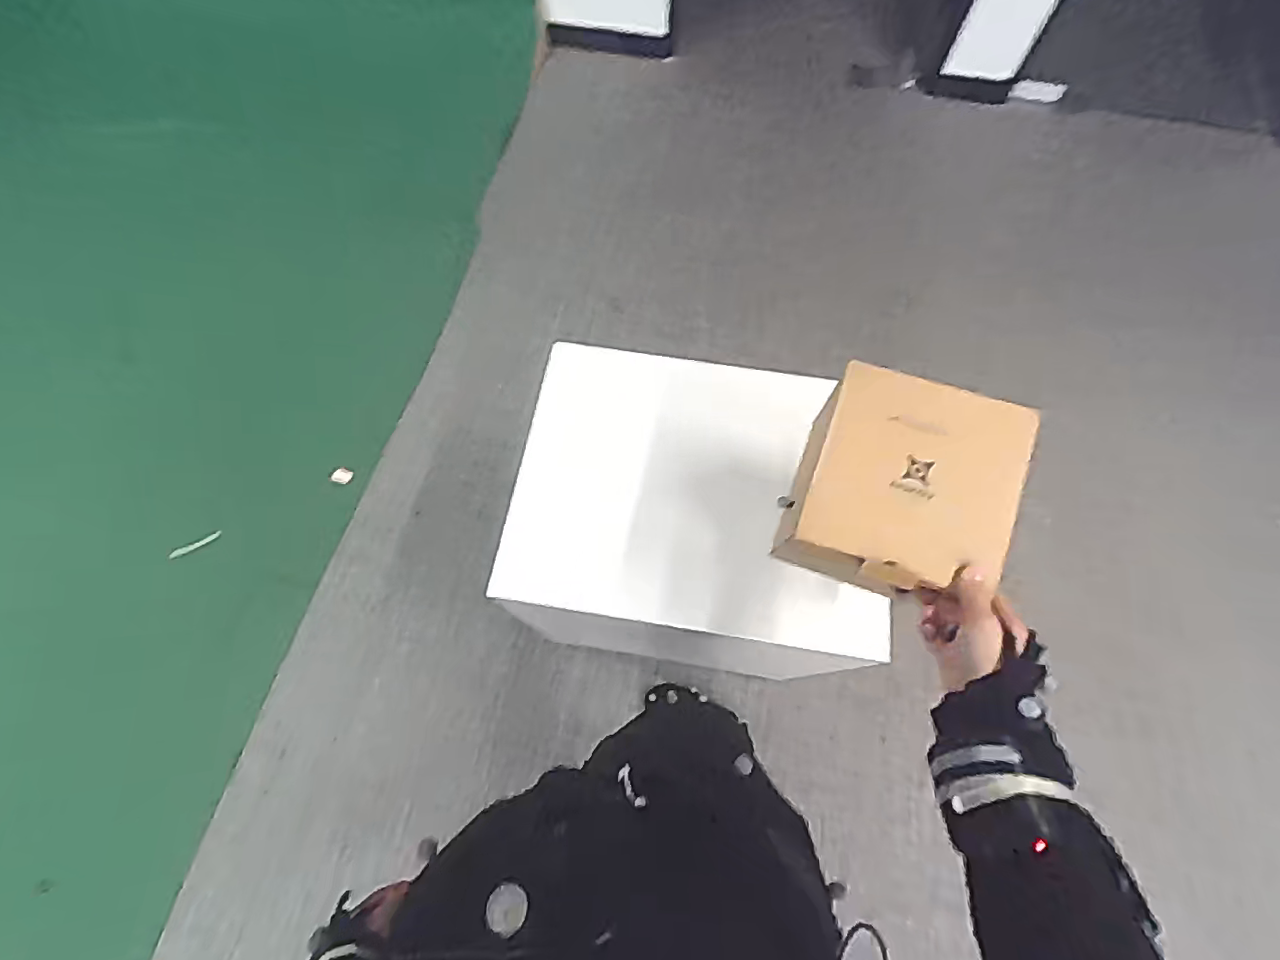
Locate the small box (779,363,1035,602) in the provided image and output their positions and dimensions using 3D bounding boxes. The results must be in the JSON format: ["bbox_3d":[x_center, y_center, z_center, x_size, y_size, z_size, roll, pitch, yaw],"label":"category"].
[{"bbox_3d":[0.246,0.015,0.542,0.168,0.176,0.179,18,78,11],"label":"small box"}]
